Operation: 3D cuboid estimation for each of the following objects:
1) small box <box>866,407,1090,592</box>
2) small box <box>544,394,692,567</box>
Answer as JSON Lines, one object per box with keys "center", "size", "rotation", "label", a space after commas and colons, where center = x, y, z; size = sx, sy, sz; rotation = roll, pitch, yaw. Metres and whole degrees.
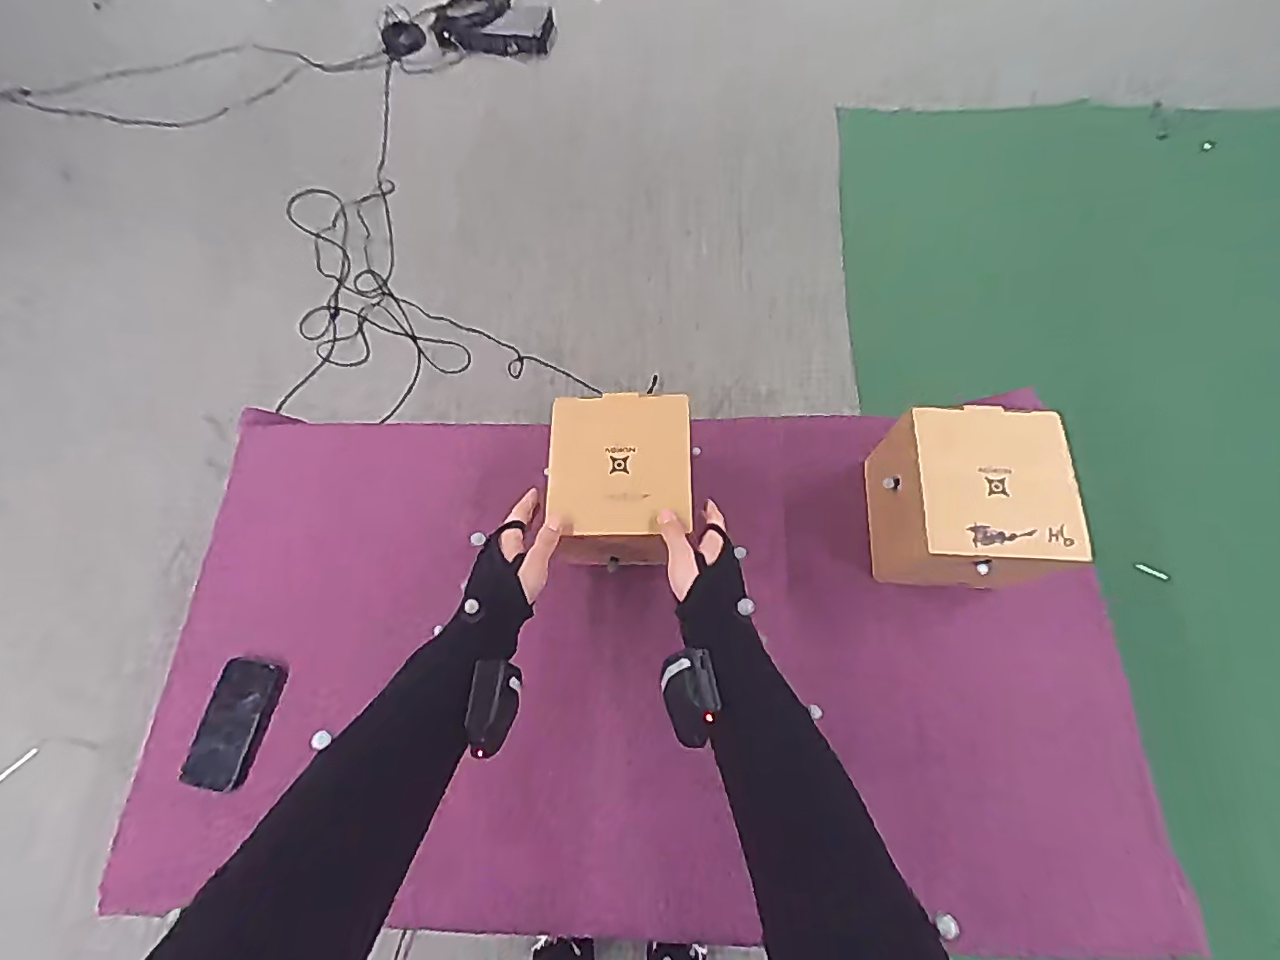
{"center": [0.390, 0.030, 0.664], "size": [0.168, 0.176, 0.179], "rotation": [3, 68, 5], "label": "small box"}
{"center": [-0.019, 0.006, 0.695], "size": [0.168, 0.176, 0.179], "rotation": [0, 69, 3], "label": "small box"}
